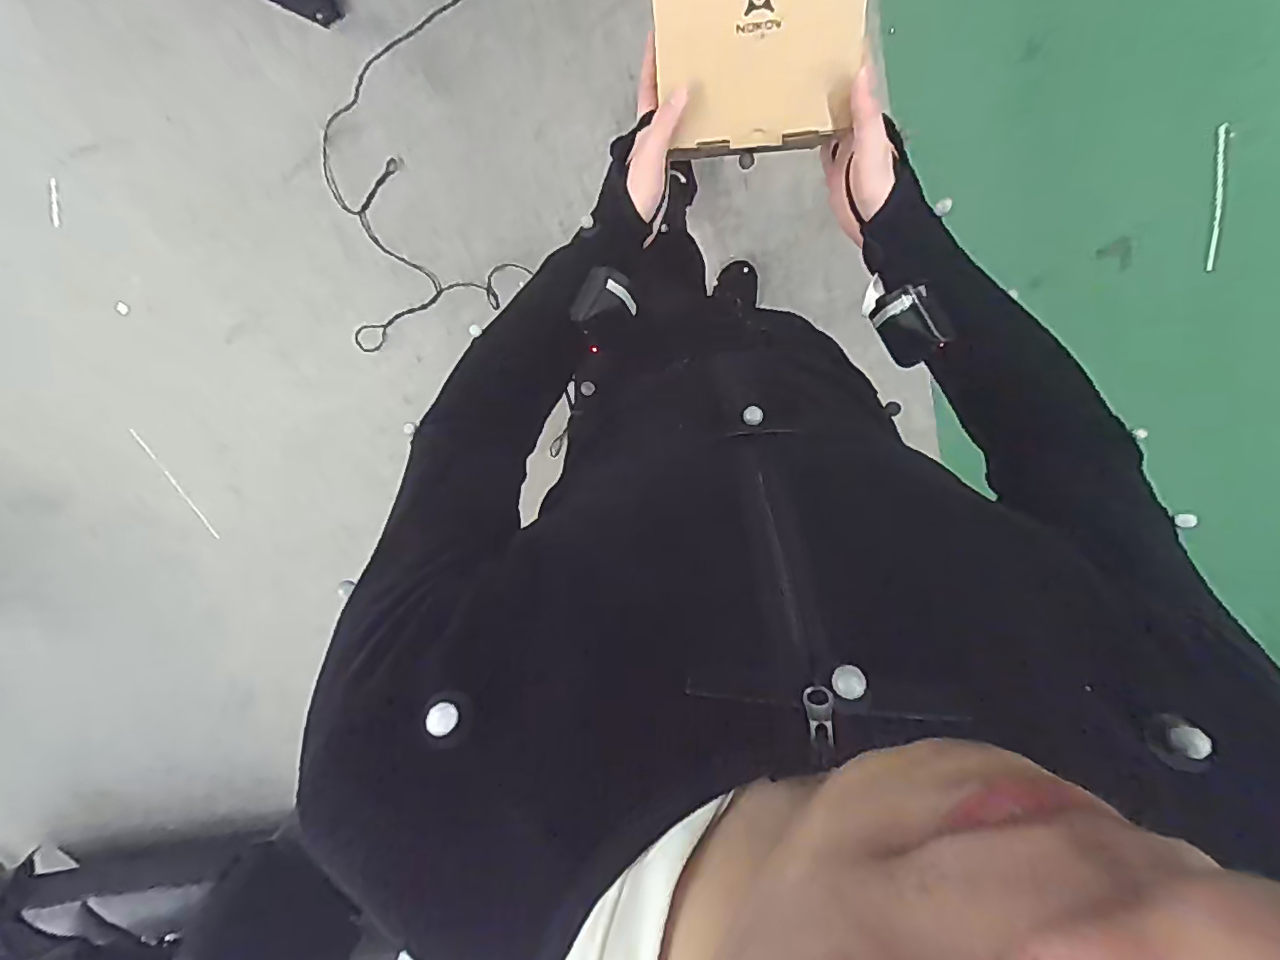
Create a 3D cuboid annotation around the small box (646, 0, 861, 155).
[{"bbox_3d":[0.097,-0.402,0.489,0.168,0.176,0.179,-1,119,8],"label":"small box"}]
